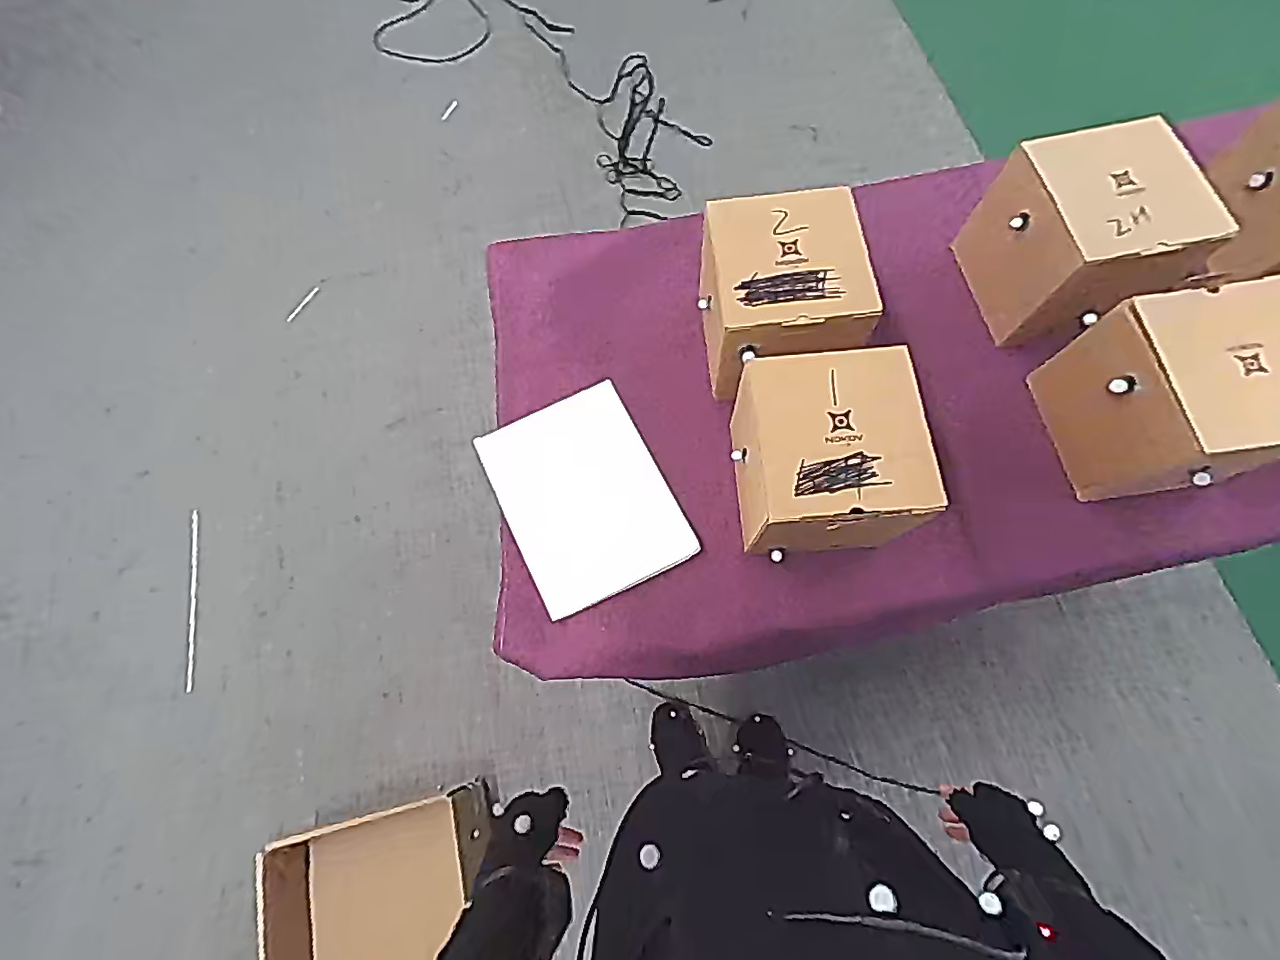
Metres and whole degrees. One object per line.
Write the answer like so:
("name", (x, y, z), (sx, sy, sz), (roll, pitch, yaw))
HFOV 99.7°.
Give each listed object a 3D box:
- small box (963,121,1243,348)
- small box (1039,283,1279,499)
("small box", (0.537, -0.290, 0.663), (0.168, 0.176, 0.179), (-10, 72, 0))
("small box", (0.593, -0.084, 0.594), (0.168, 0.176, 0.179), (-8, 72, 2))
